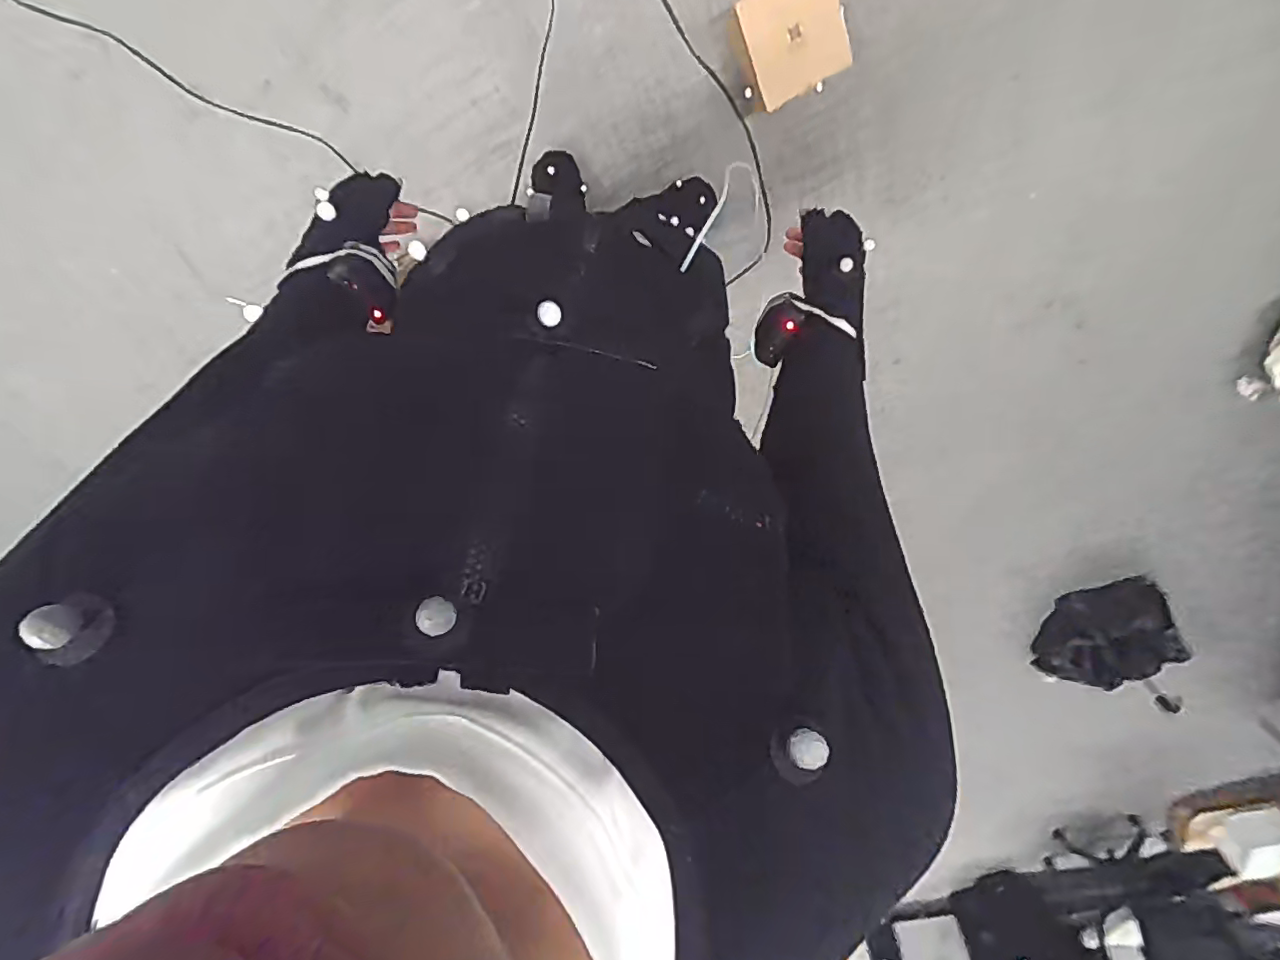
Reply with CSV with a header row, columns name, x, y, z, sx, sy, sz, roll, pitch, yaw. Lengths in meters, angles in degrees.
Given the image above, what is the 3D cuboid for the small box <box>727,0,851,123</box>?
name,x,y,z,sx,sy,sz,roll,pitch,yaw
small box,0.276,-0.810,1.022,0.168,0.176,0.179,-22,121,14

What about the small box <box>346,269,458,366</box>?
name,x,y,z,sx,sy,sz,roll,pitch,yaw
small box,-0.517,-0.330,1.148,0.168,0.176,0.179,-18,123,12

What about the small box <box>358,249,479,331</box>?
name,x,y,z,sx,sy,sz,roll,pitch,yaw
small box,-0.514,-0.429,1.283,0.168,0.176,0.179,-19,121,16
